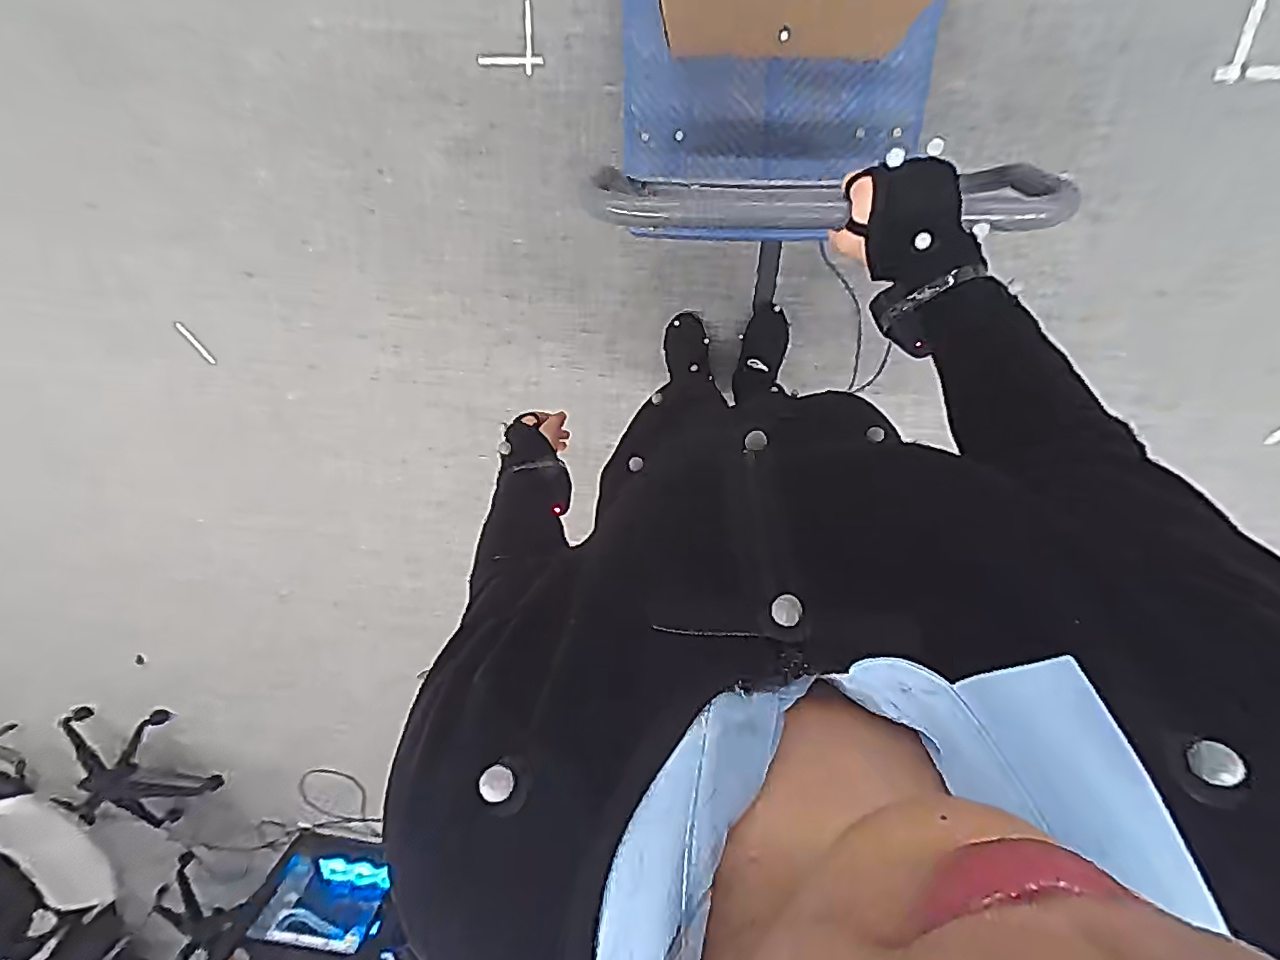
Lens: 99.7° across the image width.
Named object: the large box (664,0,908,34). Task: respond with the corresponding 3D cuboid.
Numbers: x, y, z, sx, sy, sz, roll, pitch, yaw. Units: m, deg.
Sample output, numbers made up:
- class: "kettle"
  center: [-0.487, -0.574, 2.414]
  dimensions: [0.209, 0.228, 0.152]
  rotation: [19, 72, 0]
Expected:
- class: "large box"
  center: [0.236, -0.909, 0.798]
  dimensions: [0.408, 0.320, 0.320]
  rotation: [4, 112, 8]
